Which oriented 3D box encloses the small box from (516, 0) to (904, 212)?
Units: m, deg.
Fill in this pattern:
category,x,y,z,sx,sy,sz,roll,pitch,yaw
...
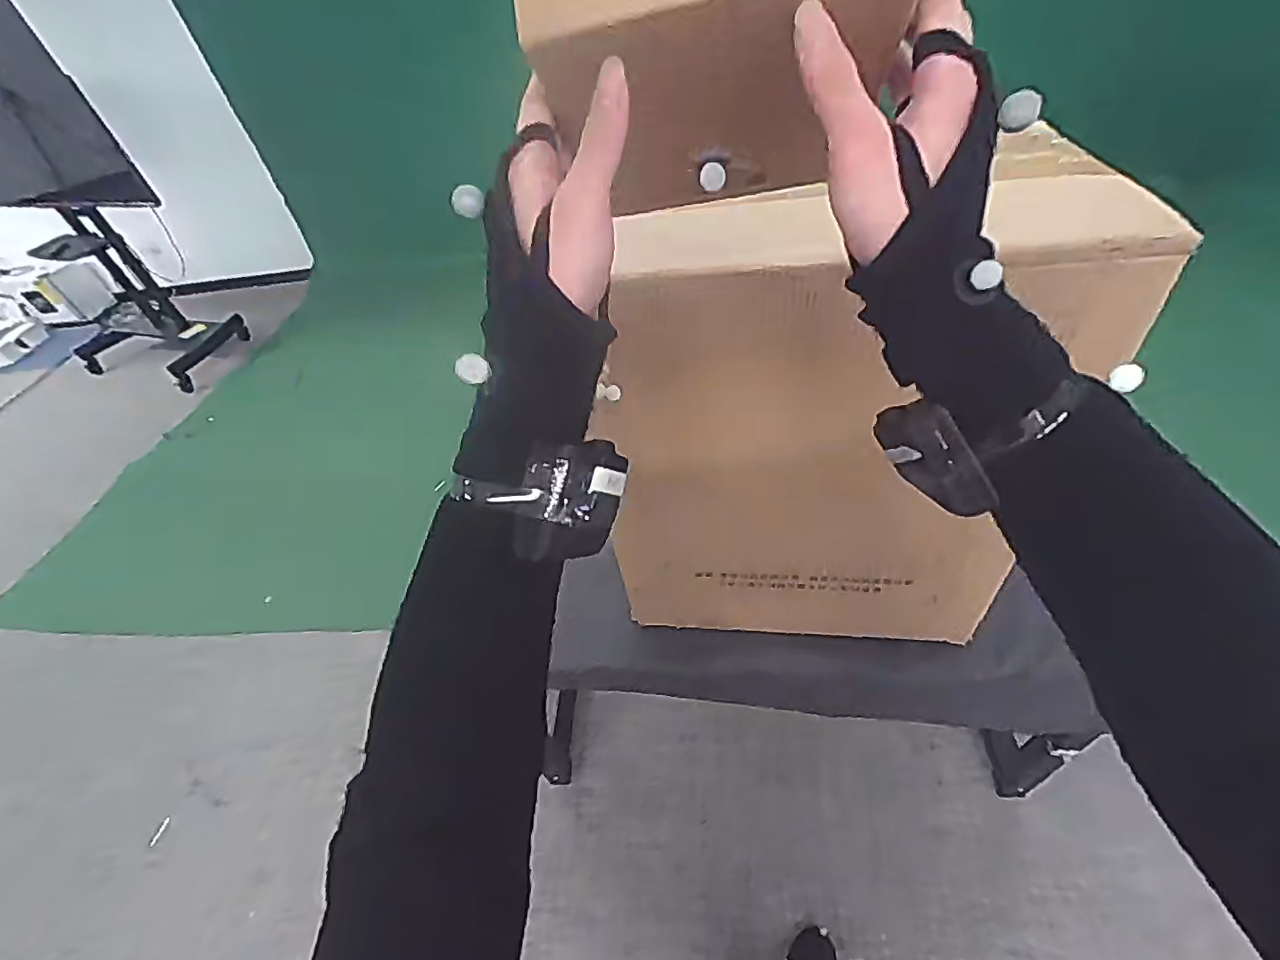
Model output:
category,x,y,z,sx,sy,sz,roll,pitch,yaw
small box,0.036,-0.283,0.299,0.168,0.179,0.176,-4,0,10
